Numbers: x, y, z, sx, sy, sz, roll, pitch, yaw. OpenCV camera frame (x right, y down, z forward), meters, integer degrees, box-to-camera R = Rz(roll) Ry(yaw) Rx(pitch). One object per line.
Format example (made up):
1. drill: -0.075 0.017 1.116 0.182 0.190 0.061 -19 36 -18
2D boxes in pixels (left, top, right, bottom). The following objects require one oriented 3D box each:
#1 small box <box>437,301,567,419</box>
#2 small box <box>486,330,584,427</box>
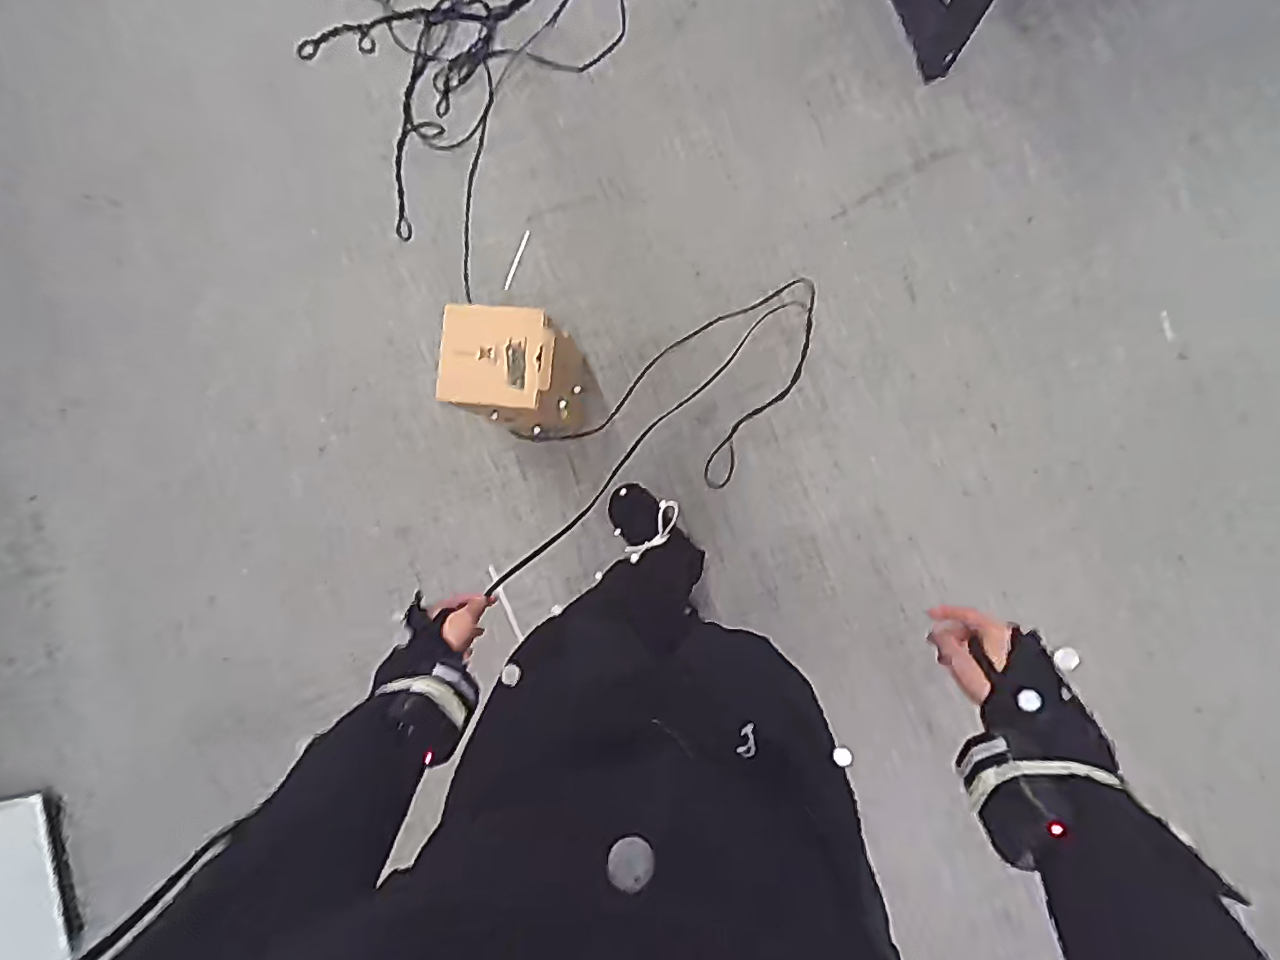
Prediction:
1. small box: -0.237 -0.206 0.971 0.179 0.176 0.168 6 88 6
2. small box: -0.213 -0.205 1.134 0.168 0.176 0.179 1 89 5
